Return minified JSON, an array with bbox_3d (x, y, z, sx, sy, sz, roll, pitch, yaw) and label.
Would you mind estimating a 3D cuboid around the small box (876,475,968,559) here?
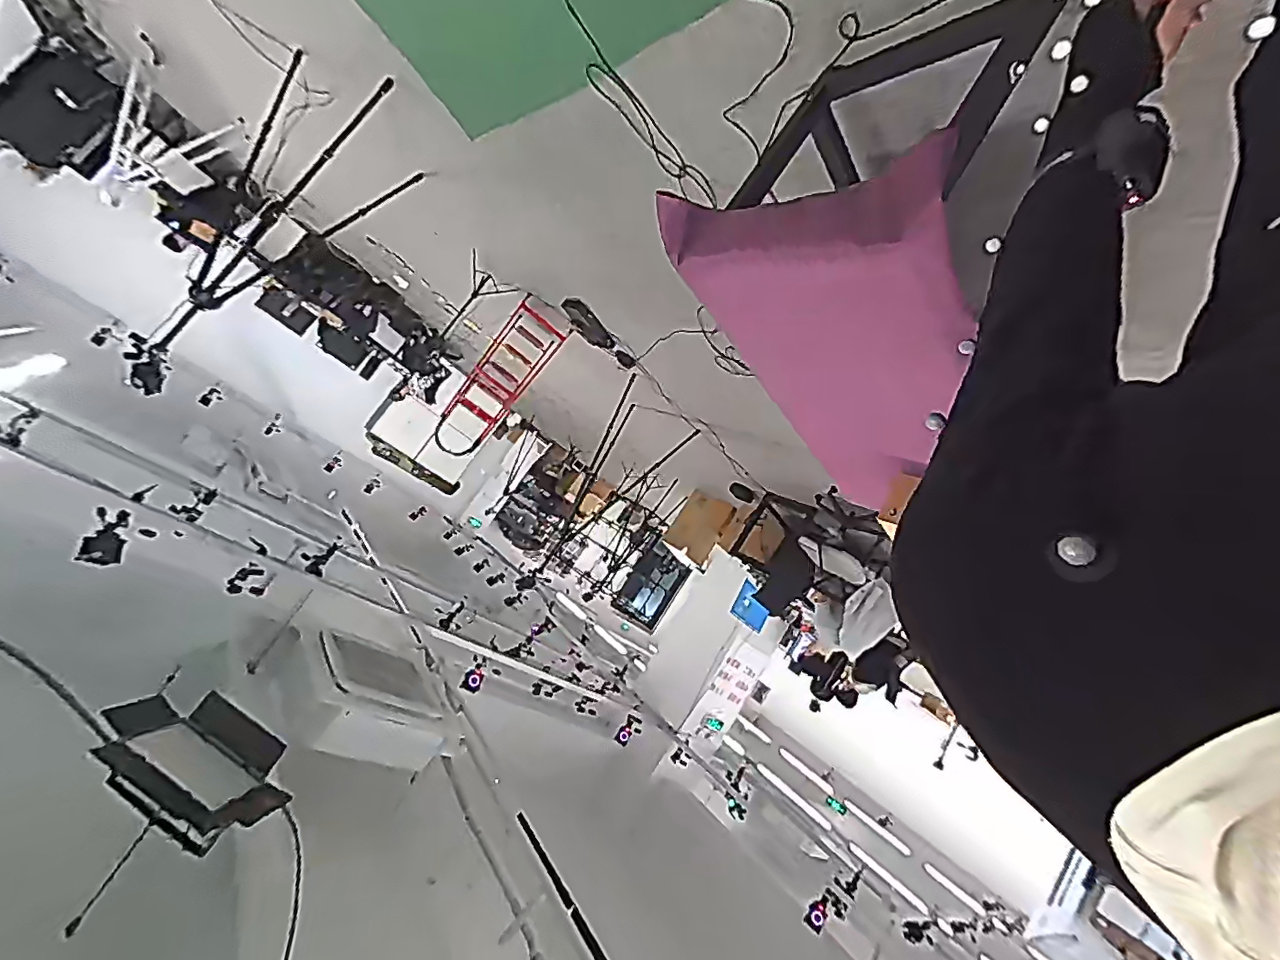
[{"bbox_3d":[0.844,0.104,1.606,0.168,0.176,0.179,41,169,-37],"label":"small box"}]
